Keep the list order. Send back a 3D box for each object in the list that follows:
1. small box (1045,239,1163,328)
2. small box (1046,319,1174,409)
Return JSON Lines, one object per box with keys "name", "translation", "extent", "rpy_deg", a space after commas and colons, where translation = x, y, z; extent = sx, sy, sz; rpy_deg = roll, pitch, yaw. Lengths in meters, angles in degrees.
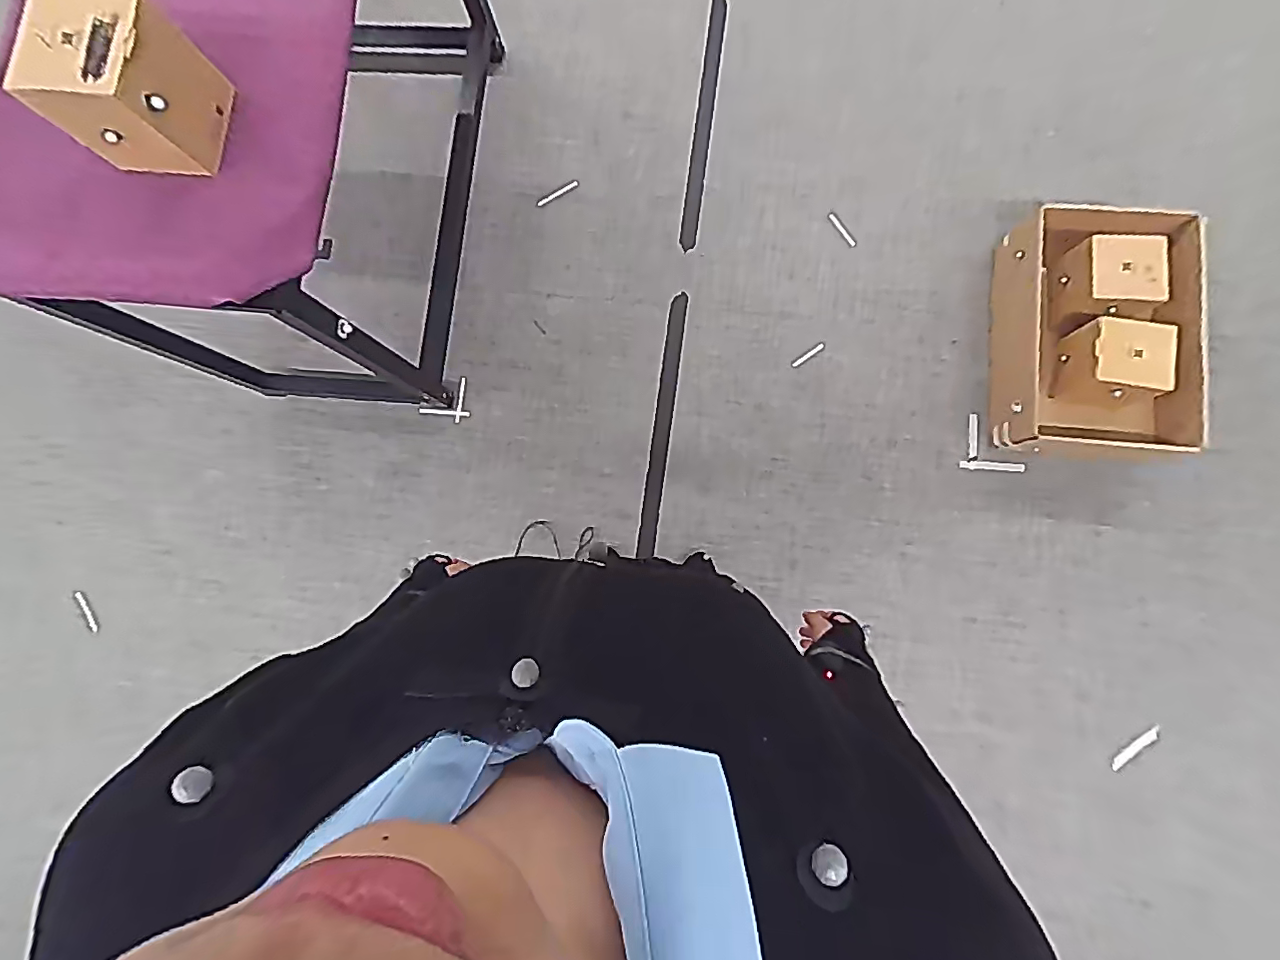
{"name": "small box", "translation": [1.195, -0.504, 1.404], "extent": [0.179, 0.176, 0.168], "rpy_deg": [4, 85, 4]}
{"name": "small box", "translation": [1.192, -0.287, 1.381], "extent": [0.179, 0.176, 0.168], "rpy_deg": [11, 83, 5]}
